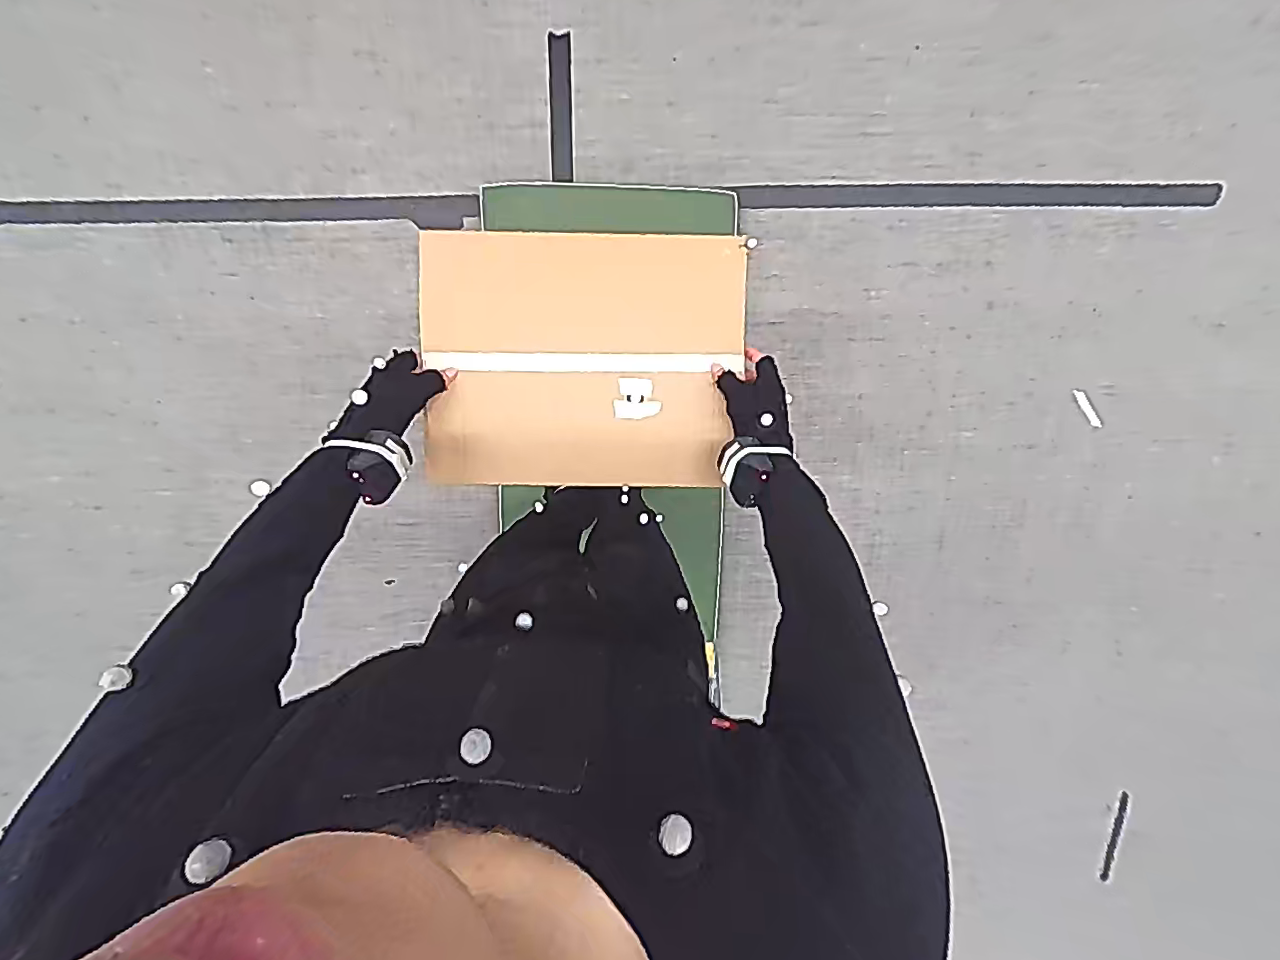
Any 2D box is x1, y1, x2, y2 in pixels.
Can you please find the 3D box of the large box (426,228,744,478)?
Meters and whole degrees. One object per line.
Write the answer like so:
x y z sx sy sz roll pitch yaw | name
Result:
-0.073 -0.172 0.835 0.408 0.320 0.320 0 96 -2 | large box
